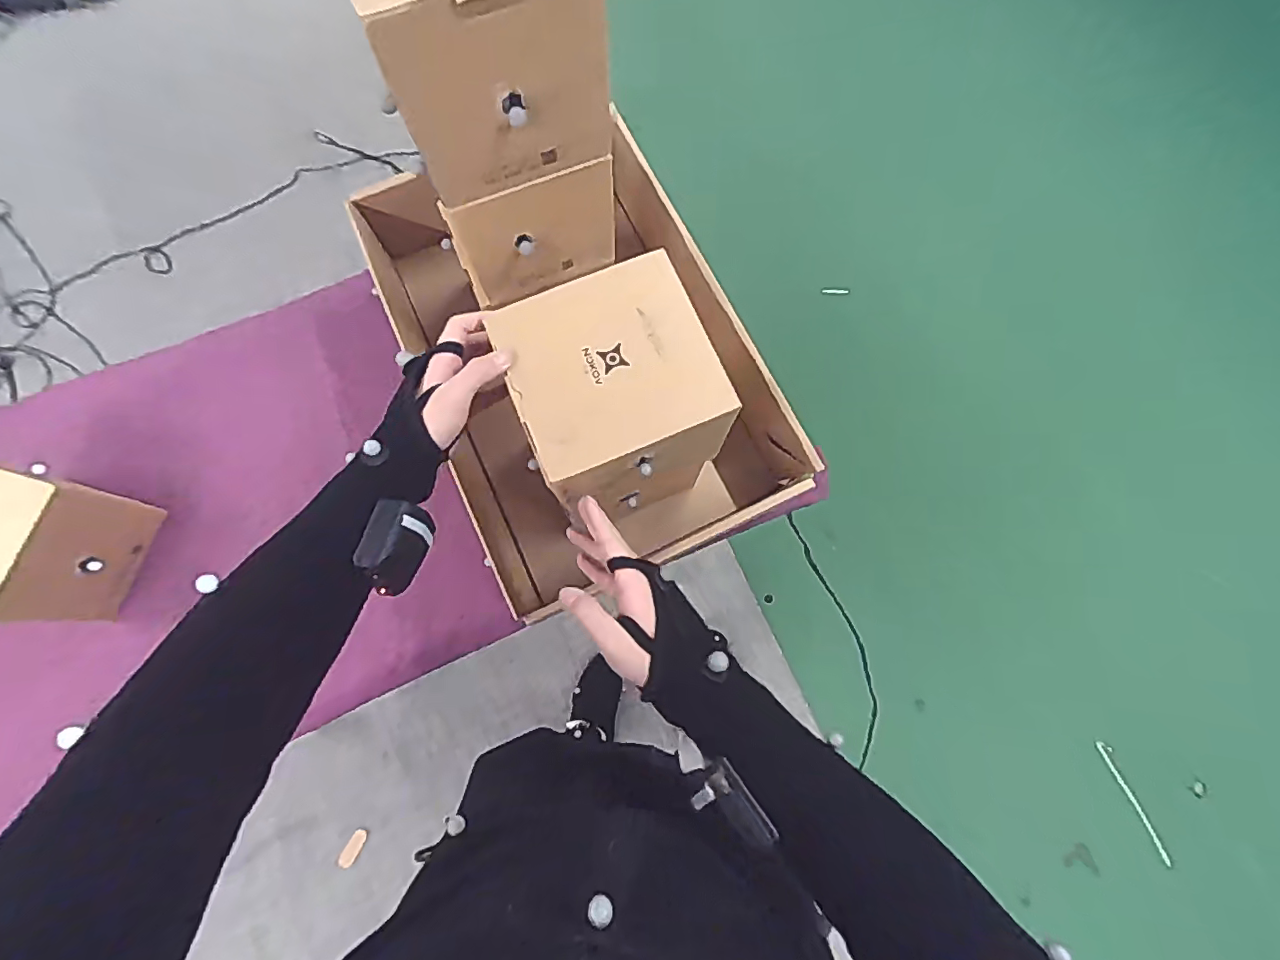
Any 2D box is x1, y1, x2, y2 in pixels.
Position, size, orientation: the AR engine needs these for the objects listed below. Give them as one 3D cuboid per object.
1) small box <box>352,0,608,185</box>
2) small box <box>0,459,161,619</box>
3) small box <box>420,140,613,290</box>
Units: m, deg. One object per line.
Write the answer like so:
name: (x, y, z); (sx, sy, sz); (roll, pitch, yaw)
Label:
small box: (-0.131, -0.372, 0.433); (0.168, 0.176, 0.179); (-23, 80, -6)
small box: (-0.789, 0.072, 0.696); (0.179, 0.176, 0.168); (16, 76, 2)
small box: (-0.135, -0.335, 0.593); (0.168, 0.176, 0.179); (-23, 79, -6)
